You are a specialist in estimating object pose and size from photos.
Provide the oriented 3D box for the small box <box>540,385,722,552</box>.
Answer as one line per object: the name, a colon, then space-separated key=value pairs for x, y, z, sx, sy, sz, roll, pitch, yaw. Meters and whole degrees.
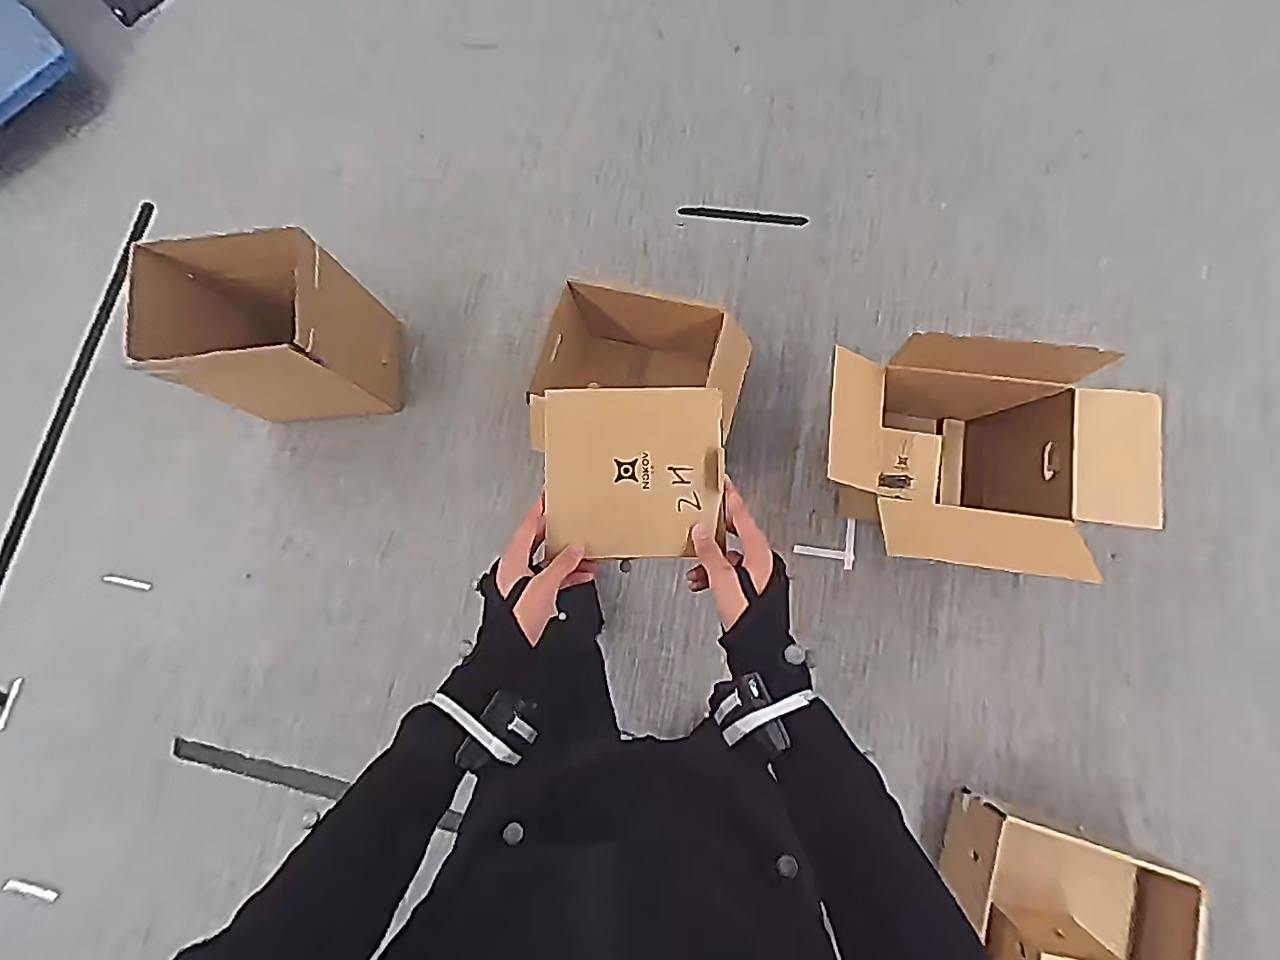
small box: x=-0.009 y=-0.003 z=0.602 sx=0.179 sy=0.176 sz=0.168 roll=0 pitch=85 yaw=-1
